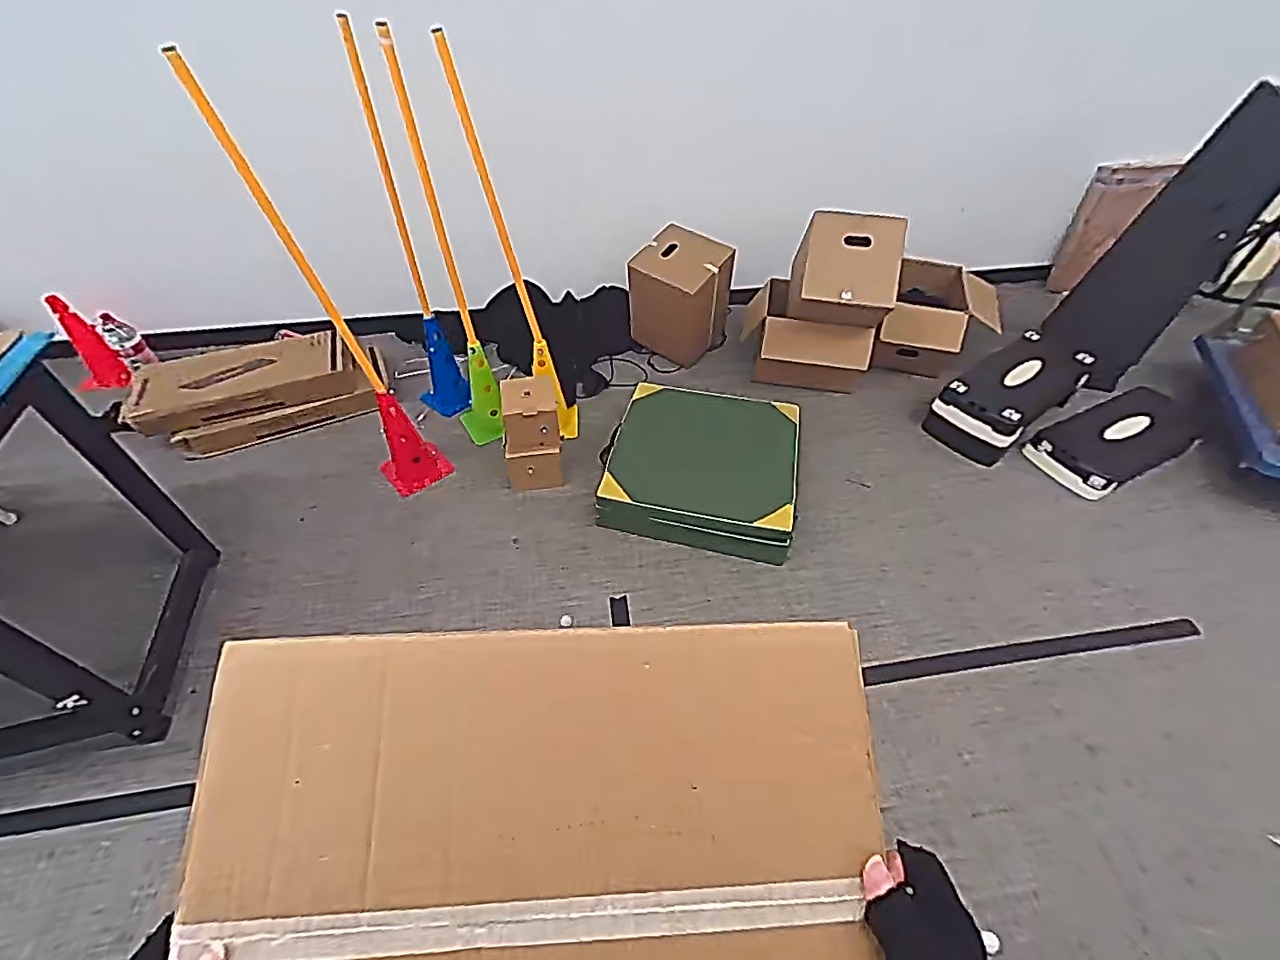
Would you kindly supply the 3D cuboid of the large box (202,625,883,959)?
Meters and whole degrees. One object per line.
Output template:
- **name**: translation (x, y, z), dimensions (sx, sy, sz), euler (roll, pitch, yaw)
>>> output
- **large box**: translation (-0.059, 0.298, 0.467), dimensions (0.408, 0.320, 0.320), euler (-1, 73, -4)
